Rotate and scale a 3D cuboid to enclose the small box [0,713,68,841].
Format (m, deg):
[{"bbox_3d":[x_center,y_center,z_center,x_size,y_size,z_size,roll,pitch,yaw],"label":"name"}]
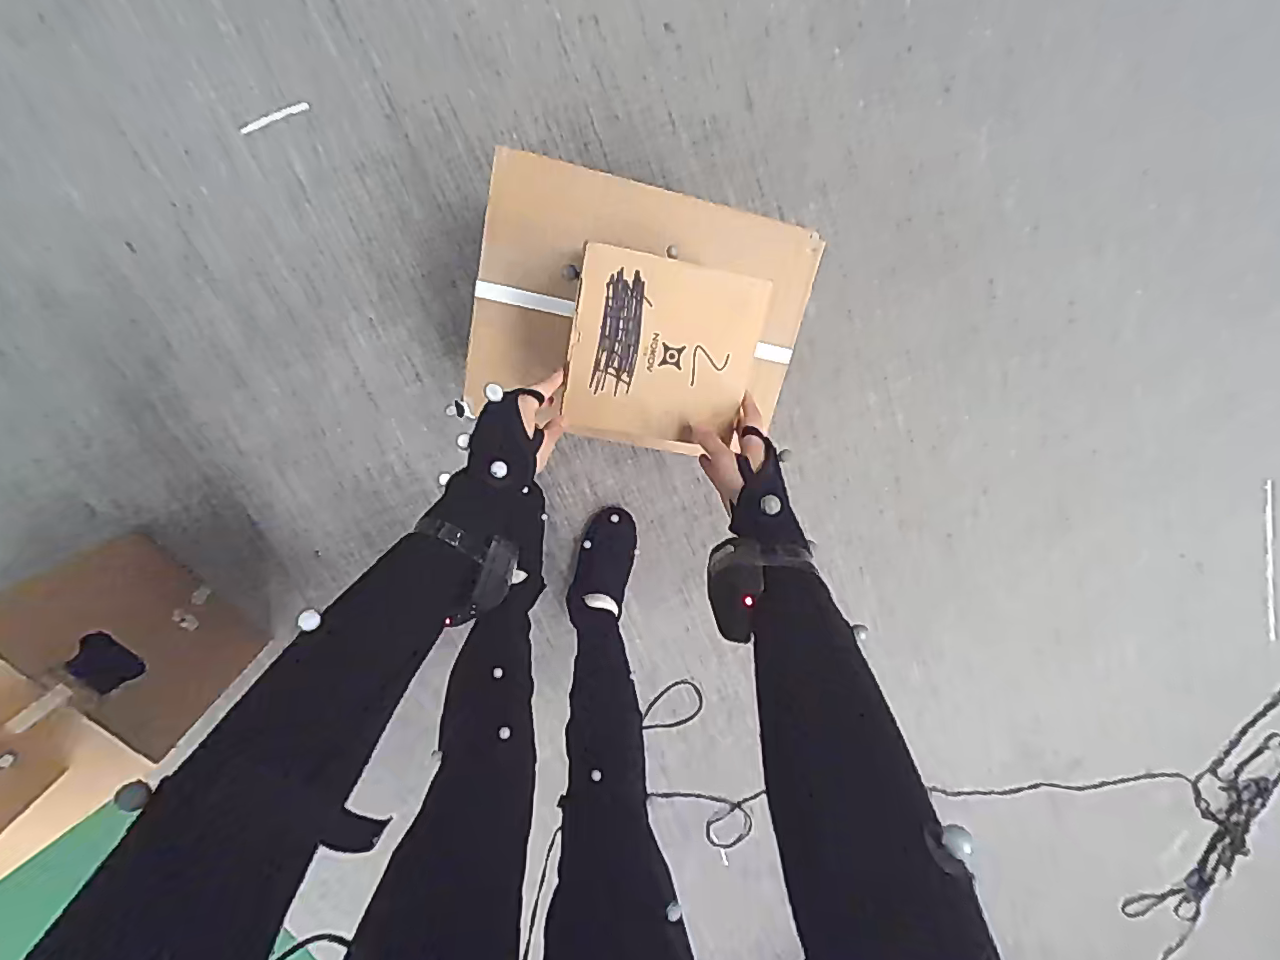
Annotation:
[{"bbox_3d":[-0.885,0.411,0.654,0.179,0.176,0.168,-33,109,3],"label":"small box"}]

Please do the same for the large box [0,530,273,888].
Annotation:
[{"bbox_3d":[-0.936,0.357,0.889,0.408,0.320,0.320,-36,107,6],"label":"large box"}]
